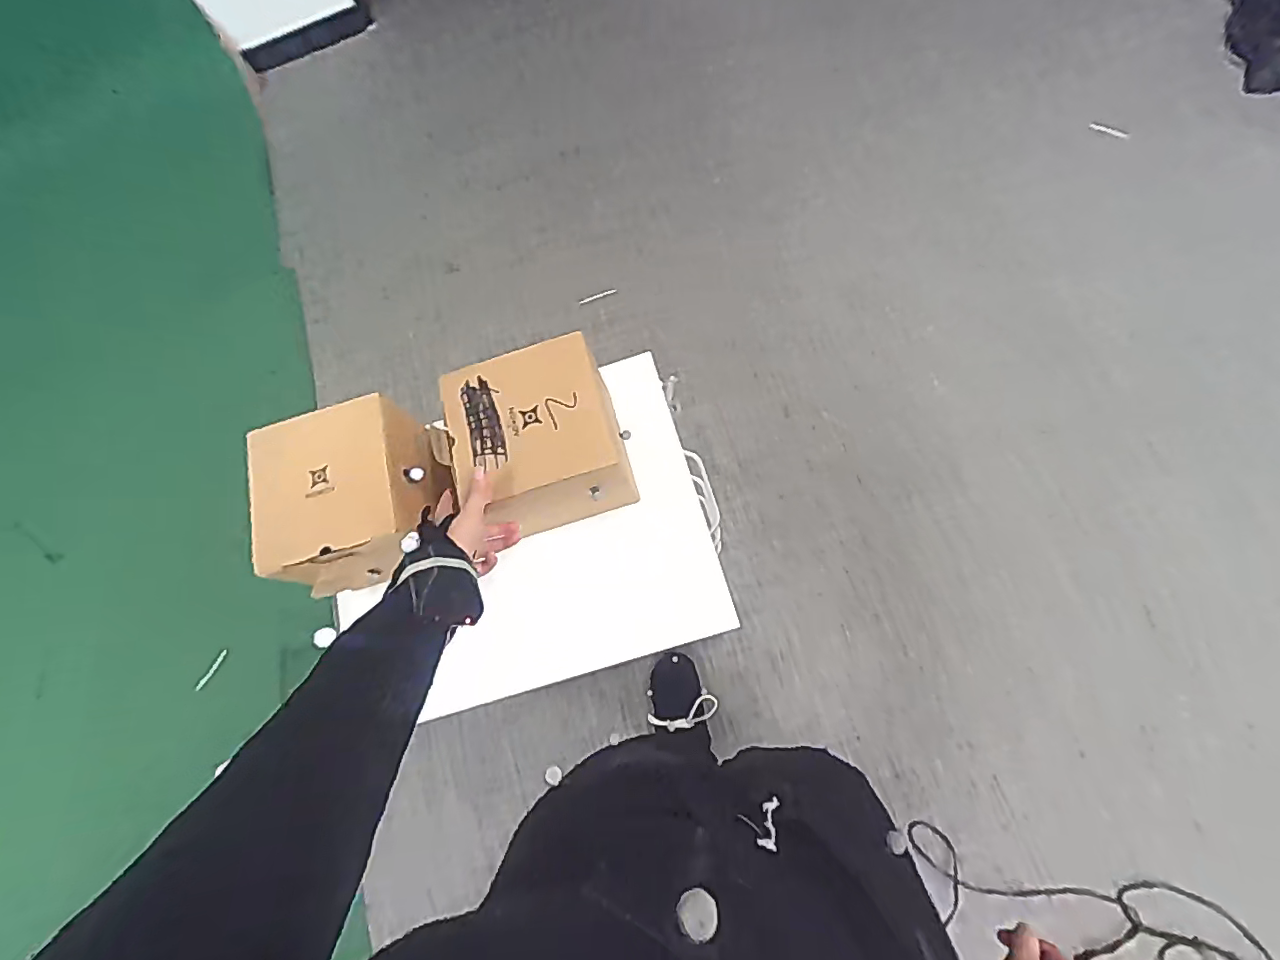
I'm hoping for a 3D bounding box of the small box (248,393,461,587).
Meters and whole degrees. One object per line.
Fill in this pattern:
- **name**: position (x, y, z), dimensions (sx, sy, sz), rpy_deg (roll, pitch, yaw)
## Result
- **small box**: position (-0.343, 0.023, 0.671), dimensions (0.168, 0.176, 0.179), rpy_deg (-17, 73, 2)
